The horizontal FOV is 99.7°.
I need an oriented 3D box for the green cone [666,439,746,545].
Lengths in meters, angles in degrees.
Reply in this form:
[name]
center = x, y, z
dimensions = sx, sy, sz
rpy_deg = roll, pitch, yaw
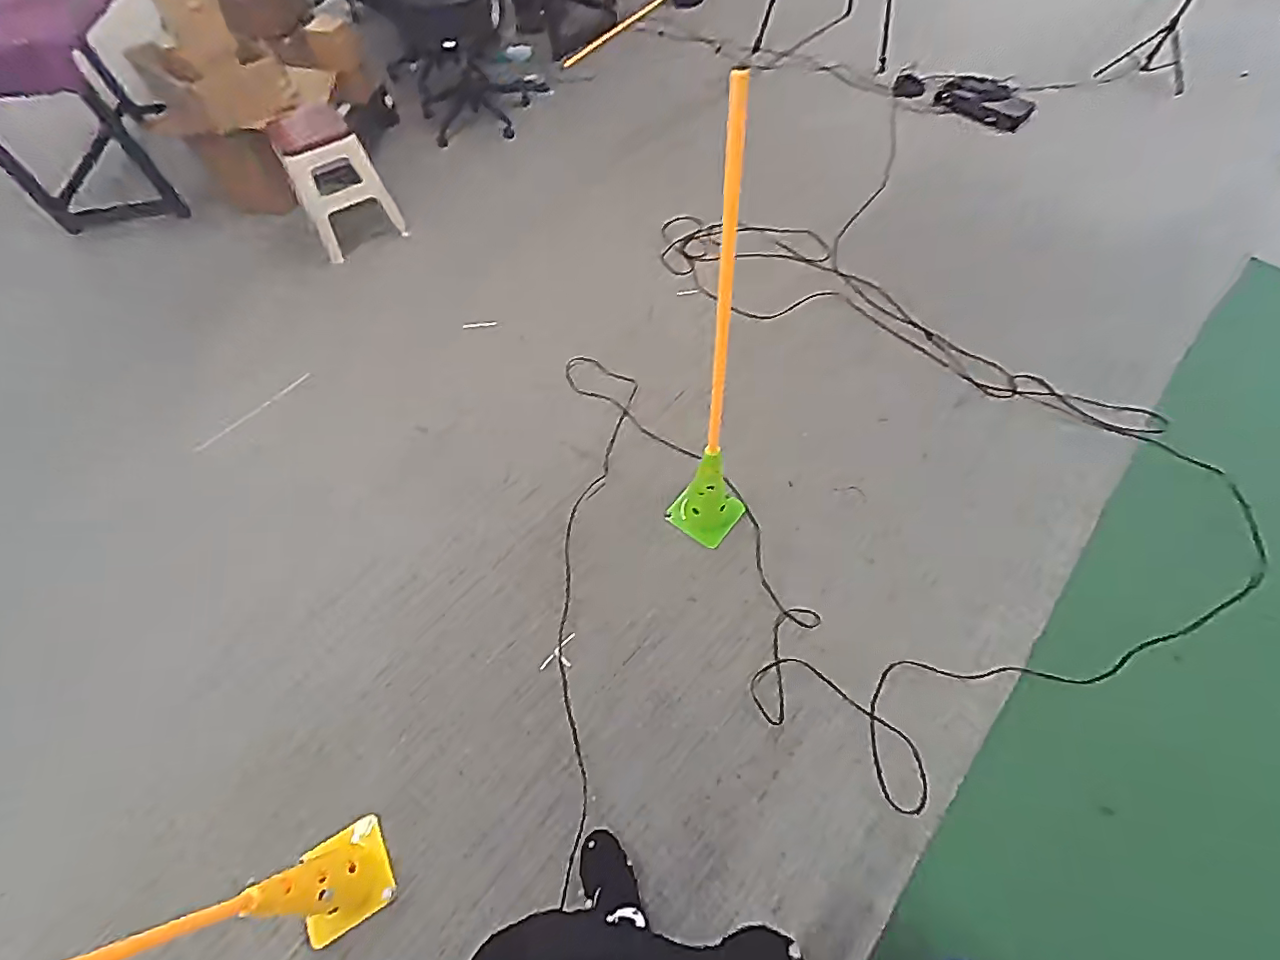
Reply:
[green cone]
center = 0.208, 0.004, 1.593
dimensions = 0.200, 0.368, 0.202
rpy_deg = 33, 65, 20
